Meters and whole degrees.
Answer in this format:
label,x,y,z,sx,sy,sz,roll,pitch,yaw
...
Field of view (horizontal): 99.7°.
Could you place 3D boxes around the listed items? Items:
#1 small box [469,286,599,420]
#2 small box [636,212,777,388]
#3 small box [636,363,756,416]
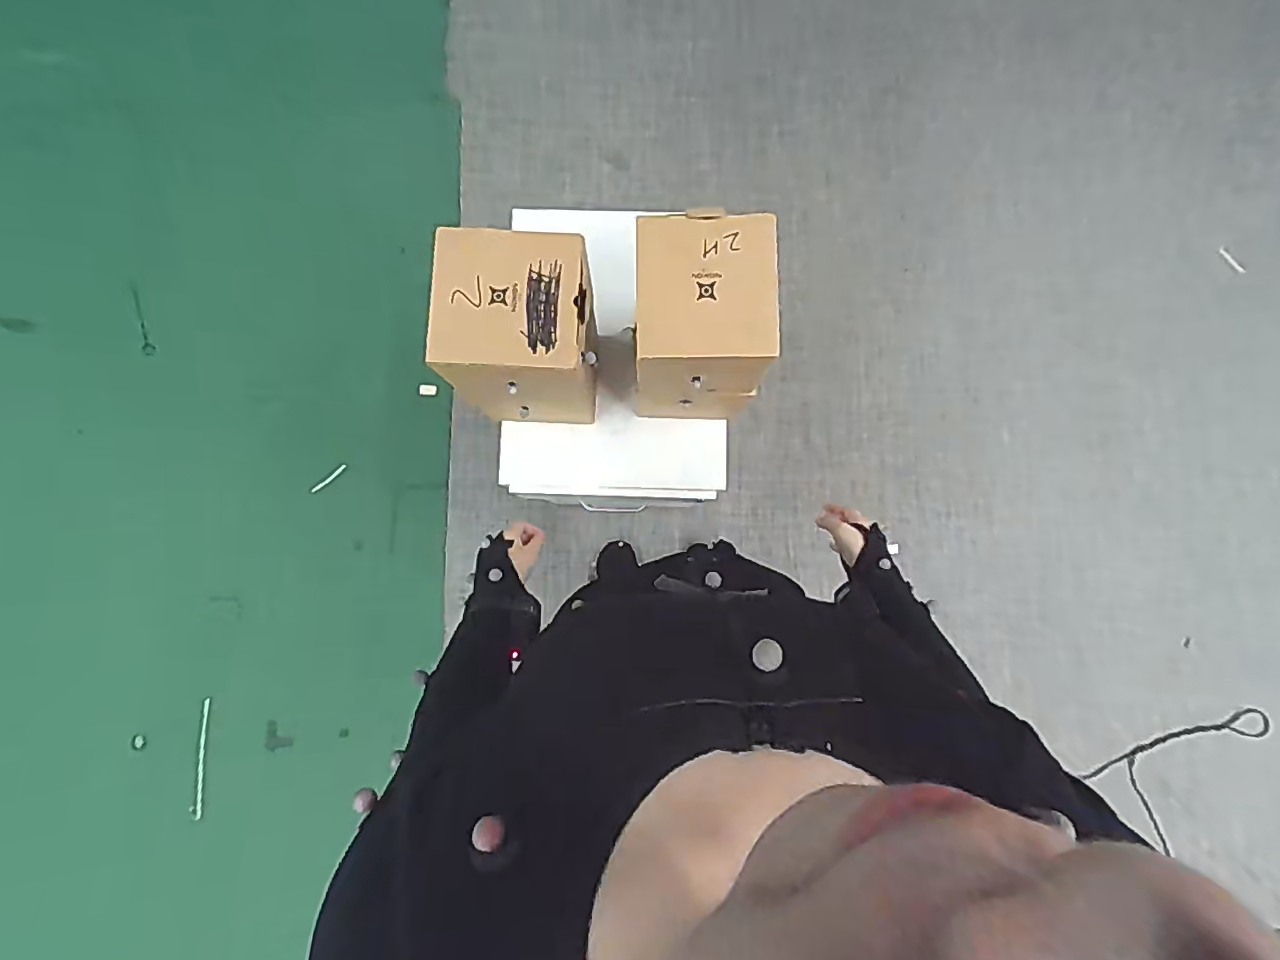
label,x,y,z,sx,sy,sz,roll,pitch,yaw
small box,-0.162,-0.195,0.873,0.179,0.176,0.168,2,85,-2
small box,0.079,-0.222,0.710,0.168,0.176,0.179,-1,84,0
small box,0.086,-0.202,0.874,0.179,0.176,0.168,2,85,0
